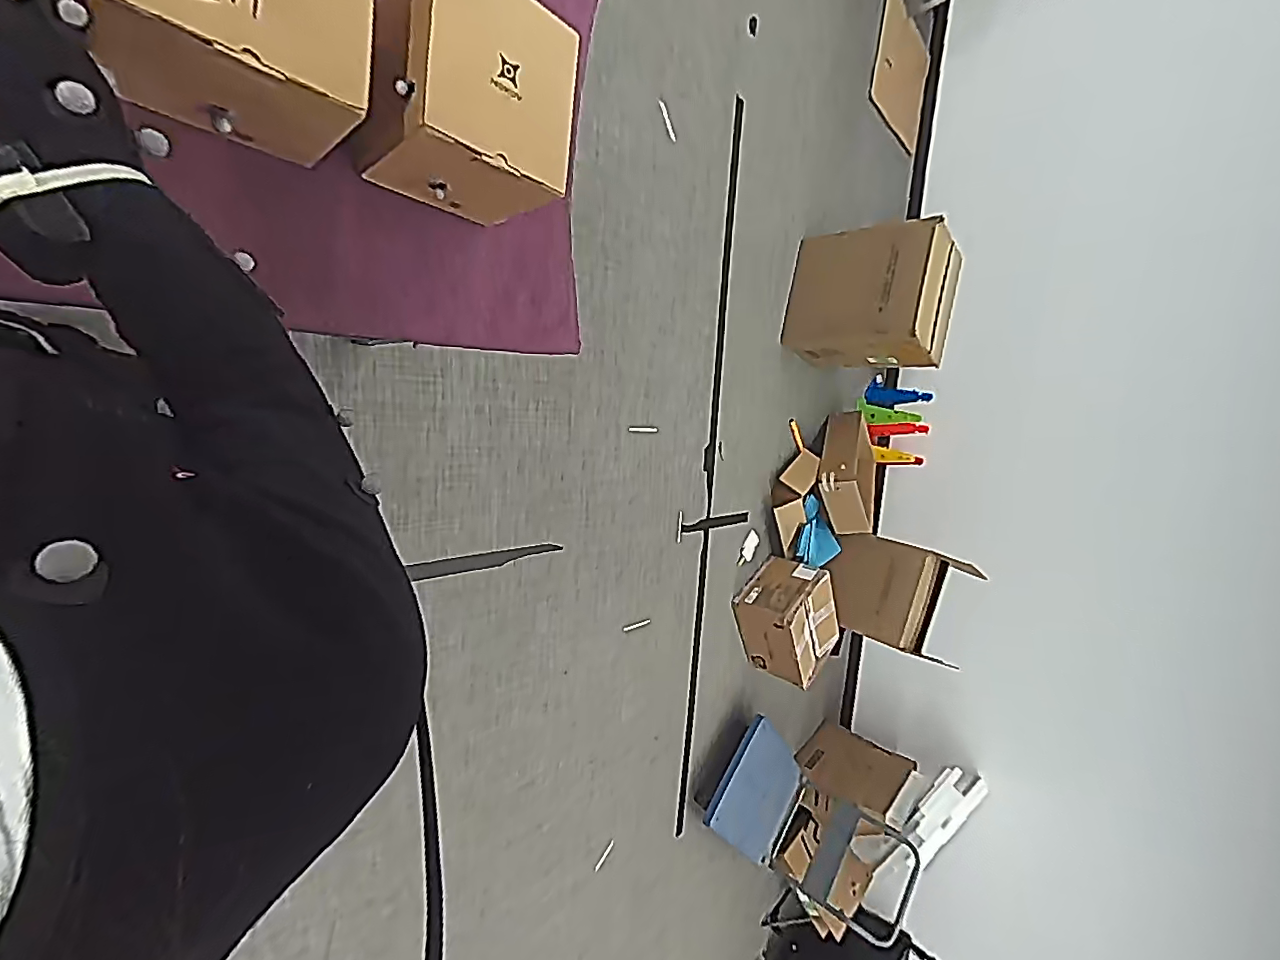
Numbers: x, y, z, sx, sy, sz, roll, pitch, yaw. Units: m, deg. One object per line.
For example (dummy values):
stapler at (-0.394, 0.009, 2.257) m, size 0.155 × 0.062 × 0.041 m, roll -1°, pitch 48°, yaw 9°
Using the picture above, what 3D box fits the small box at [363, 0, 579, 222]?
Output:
small box at (-0.188, -0.414, 0.596) m, size 0.168 × 0.176 × 0.179 m, roll 1°, pitch 97°, yaw -46°
